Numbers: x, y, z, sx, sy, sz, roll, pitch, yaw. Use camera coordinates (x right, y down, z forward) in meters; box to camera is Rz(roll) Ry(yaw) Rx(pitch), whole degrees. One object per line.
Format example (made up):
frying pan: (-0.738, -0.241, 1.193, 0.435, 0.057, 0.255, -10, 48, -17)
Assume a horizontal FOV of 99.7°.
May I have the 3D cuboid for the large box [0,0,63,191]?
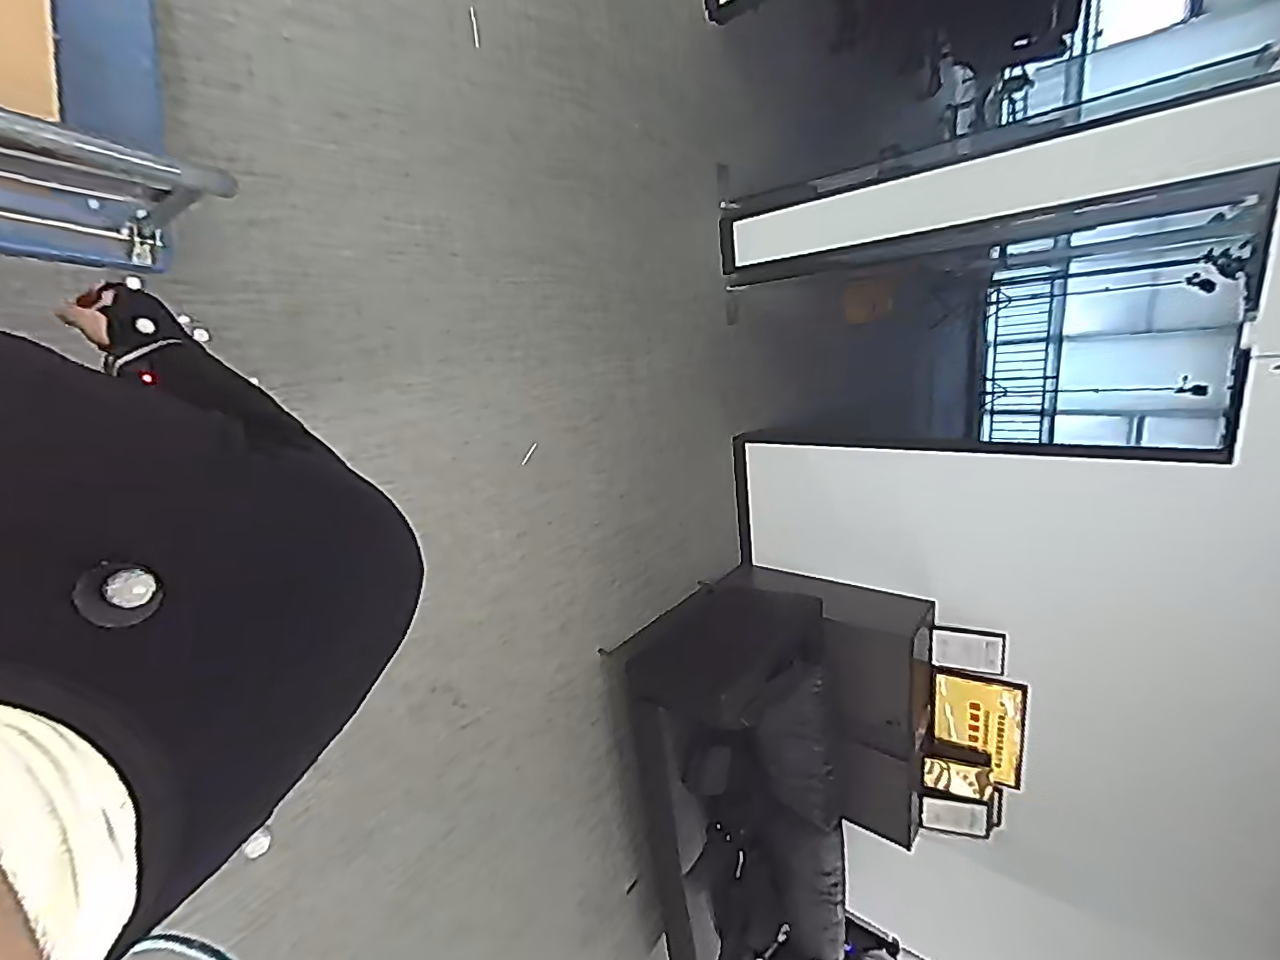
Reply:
large box: (-1.067, -0.698, 0.762, 0.320, 0.320, 0.408, -6, 98, -49)
